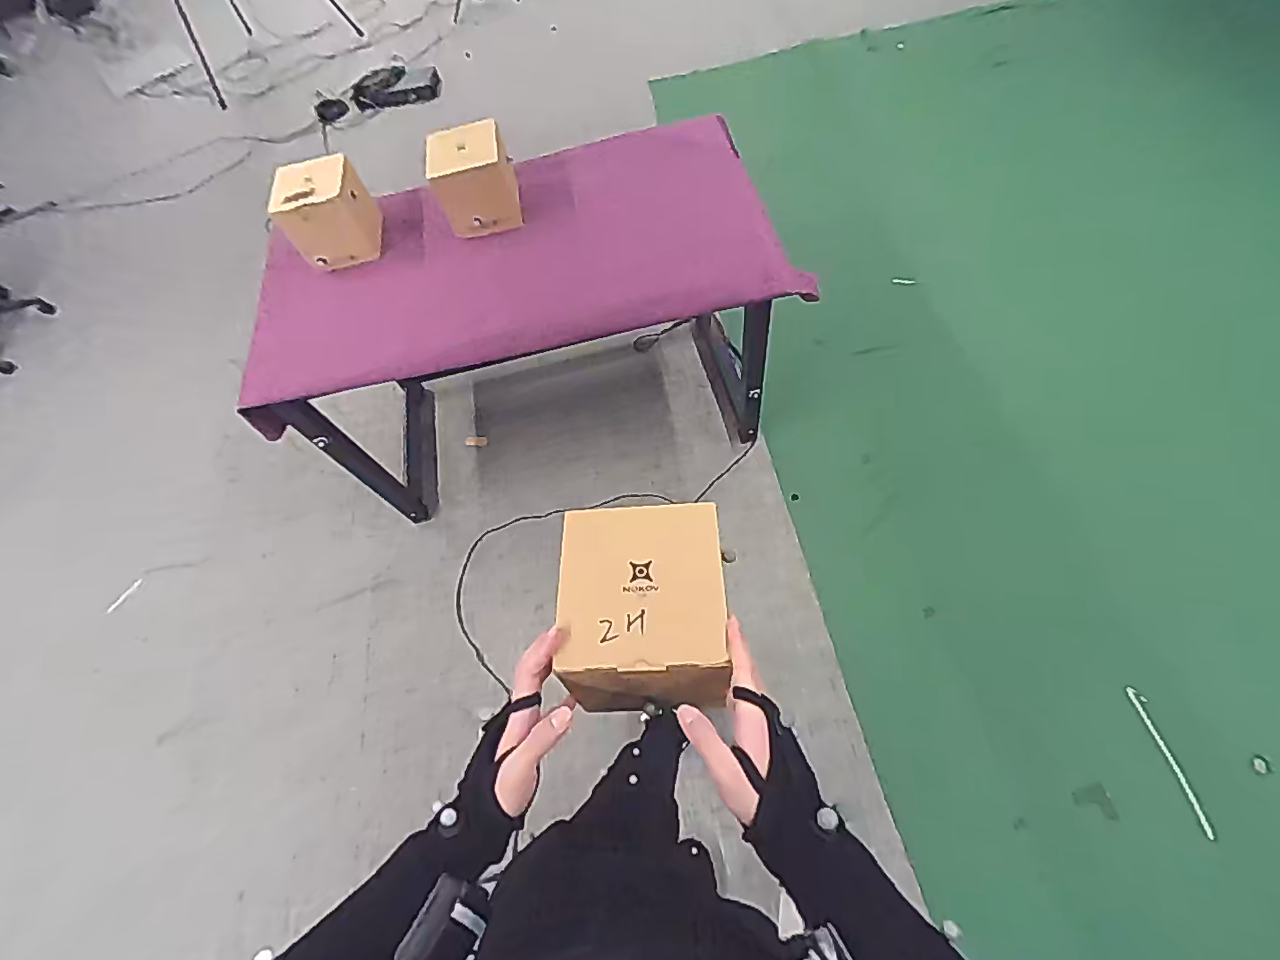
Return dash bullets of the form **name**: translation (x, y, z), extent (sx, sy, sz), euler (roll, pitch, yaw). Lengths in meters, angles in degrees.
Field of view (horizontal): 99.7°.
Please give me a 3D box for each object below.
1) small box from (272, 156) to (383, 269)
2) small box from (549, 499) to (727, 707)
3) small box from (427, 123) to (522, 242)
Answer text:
- **small box**: translation (-0.741, -0.634, 1.303), extent (0.168, 0.176, 0.179), euler (-13, 61, 1)
- **small box**: translation (0.006, 0.140, 0.603), extent (0.168, 0.176, 0.179), euler (-4, 54, 5)
- **small box**: translation (-0.391, -0.707, 1.294), extent (0.168, 0.176, 0.179), euler (-12, 62, 2)
